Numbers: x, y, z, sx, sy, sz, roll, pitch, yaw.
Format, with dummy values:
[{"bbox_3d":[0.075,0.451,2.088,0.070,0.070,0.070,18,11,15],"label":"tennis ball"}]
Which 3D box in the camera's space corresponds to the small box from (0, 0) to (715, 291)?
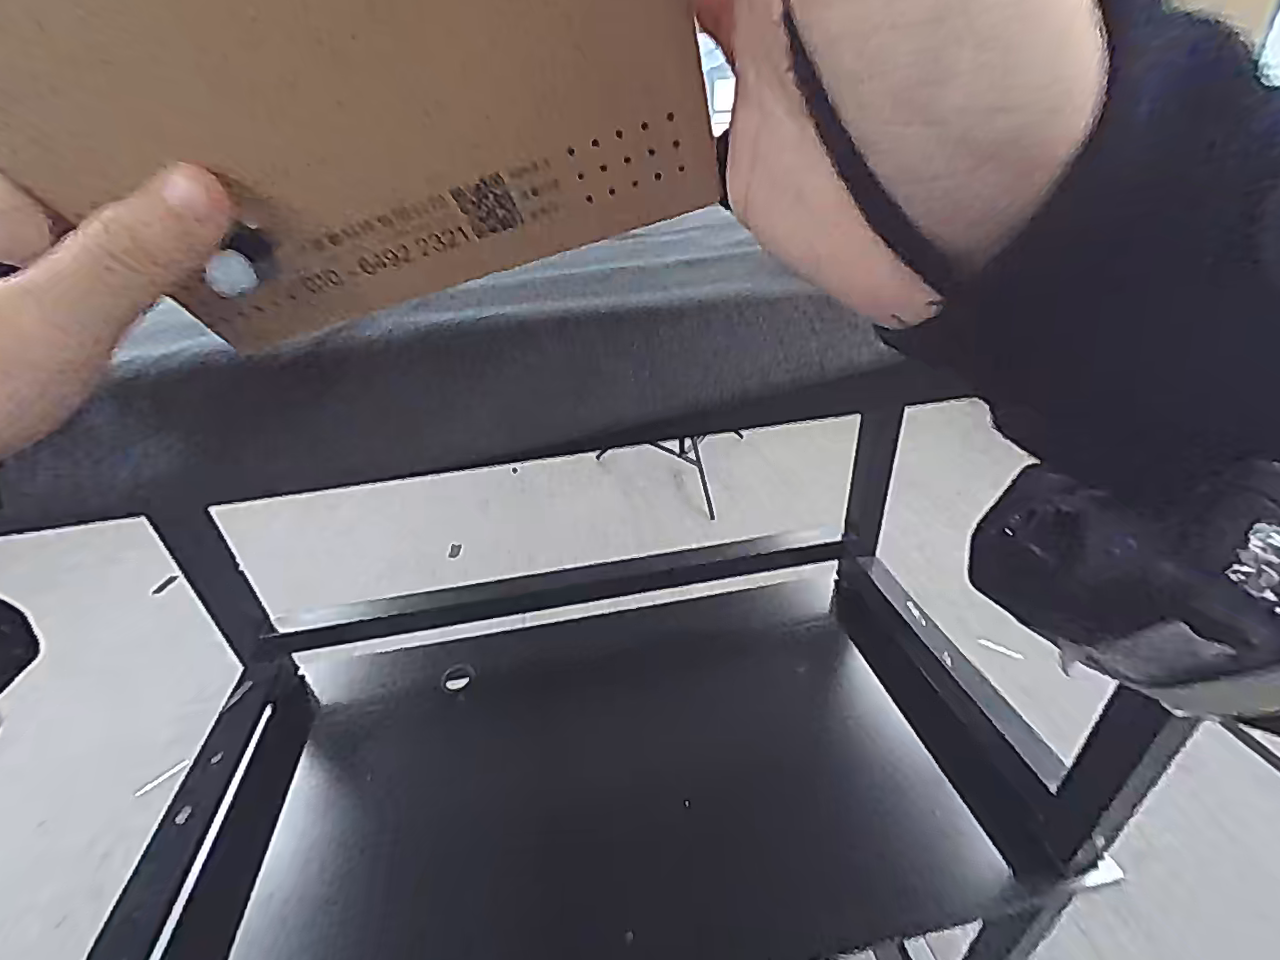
[{"bbox_3d":[-0.083,-0.172,0.135,0.168,0.176,0.179,-12,57,11],"label":"small box"}]
